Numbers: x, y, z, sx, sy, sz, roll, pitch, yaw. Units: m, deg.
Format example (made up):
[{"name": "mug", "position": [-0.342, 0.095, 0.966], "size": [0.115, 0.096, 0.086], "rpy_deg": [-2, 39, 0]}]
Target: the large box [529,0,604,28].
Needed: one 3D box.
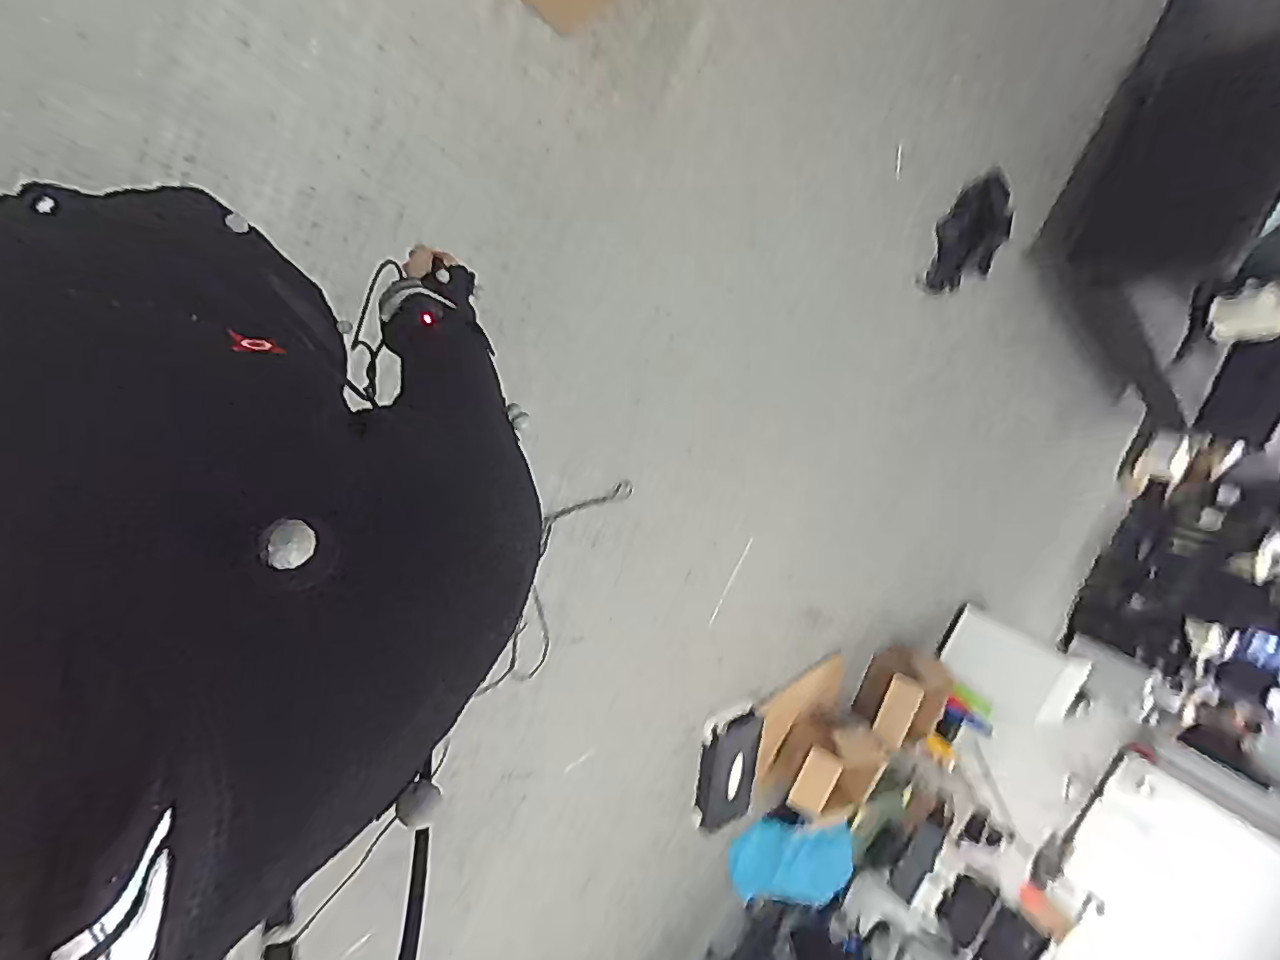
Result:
[{"name": "large box", "position": [-0.177, -1.116, 0.926], "size": [0.408, 0.320, 0.320], "rpy_deg": [19, 100, -39]}]
